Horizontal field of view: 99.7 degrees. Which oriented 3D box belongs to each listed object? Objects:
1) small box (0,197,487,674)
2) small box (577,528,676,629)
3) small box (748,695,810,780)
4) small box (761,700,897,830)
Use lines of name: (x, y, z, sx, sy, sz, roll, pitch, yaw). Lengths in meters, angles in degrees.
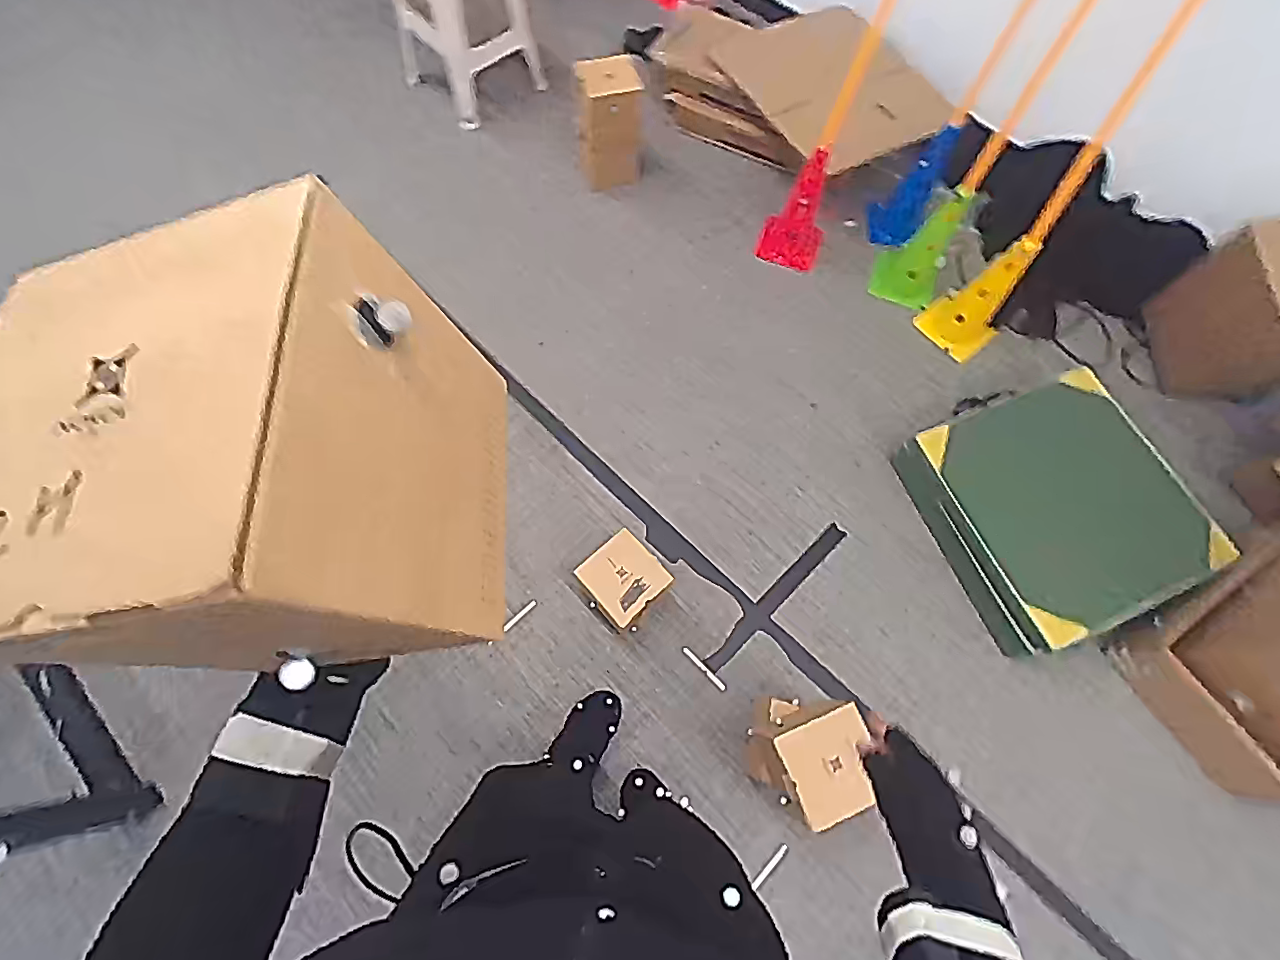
small box: (-0.194, 0.003, 0.278, 0.168, 0.176, 0.179, -9, 71, 14)
small box: (-0.031, 0.249, 1.330, 0.168, 0.176, 0.179, -40, 74, -15)
small box: (0.352, 0.589, 1.212, 0.179, 0.176, 0.168, 13, 69, 2)
small box: (0.351, 0.542, 1.053, 0.179, 0.176, 0.168, -19, 72, -9)
